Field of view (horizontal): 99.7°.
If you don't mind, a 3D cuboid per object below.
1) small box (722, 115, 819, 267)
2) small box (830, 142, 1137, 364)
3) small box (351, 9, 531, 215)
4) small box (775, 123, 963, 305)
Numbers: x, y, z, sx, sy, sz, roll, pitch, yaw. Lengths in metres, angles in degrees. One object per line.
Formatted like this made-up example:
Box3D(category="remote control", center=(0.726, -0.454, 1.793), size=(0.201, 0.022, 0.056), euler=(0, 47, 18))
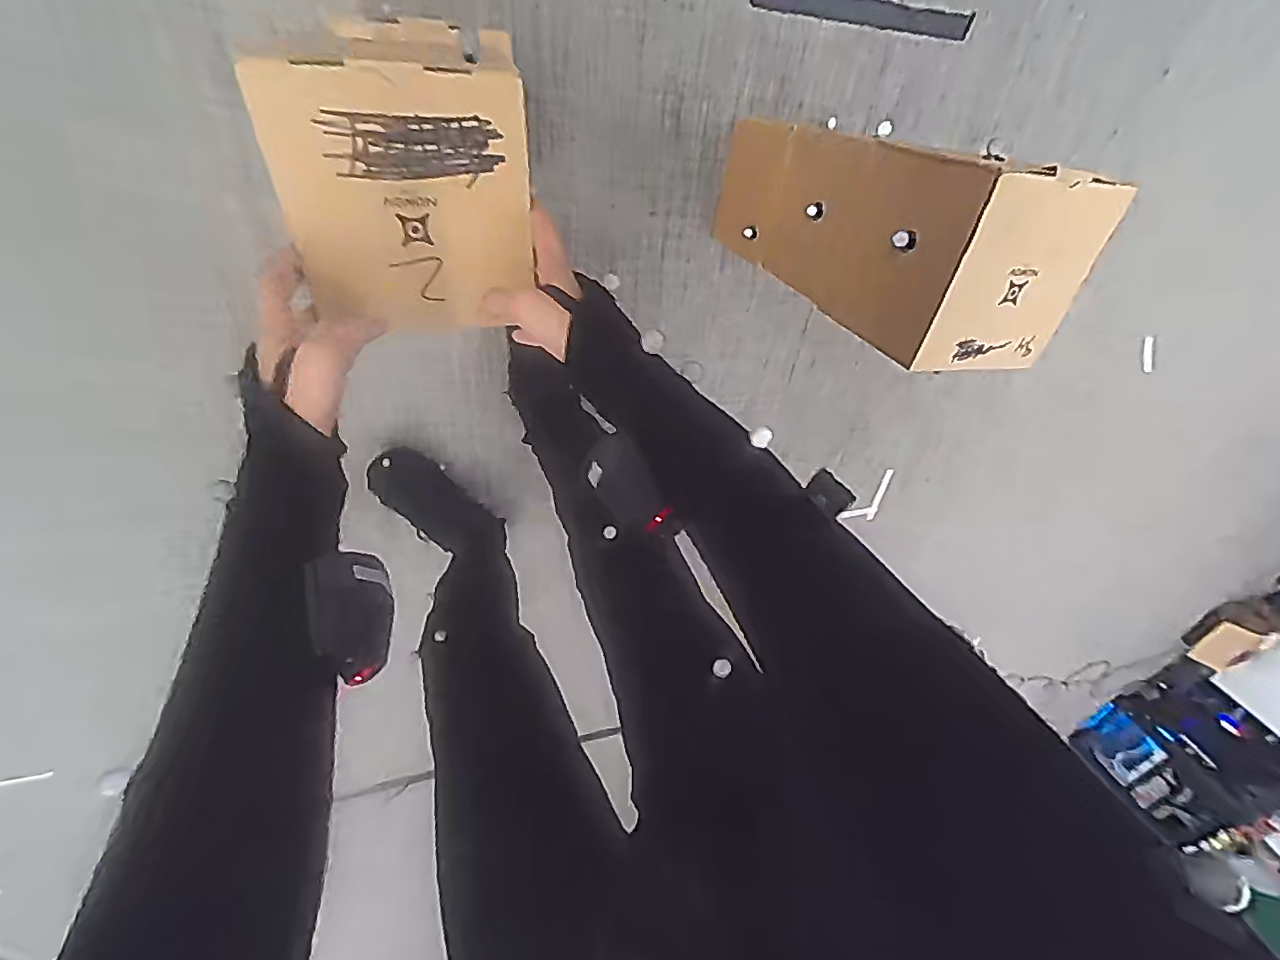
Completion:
Box3D(category="small box", center=(0.240, -0.428, 0.808), size=(0.168, 0.176, 0.179), euler=(-4, 128, -18))
Box3D(category="small box", center=(0.327, -0.234, 0.557), size=(0.168, 0.176, 0.179), euler=(-4, 127, -18))
Box3D(category="small box", center=(-0.224, -0.425, 0.637), size=(0.168, 0.176, 0.179), euler=(-6, 128, -15))
Box3D(category="small box", center=(0.293, -0.332, 0.686), size=(0.168, 0.176, 0.179), euler=(-4, 128, -18))
